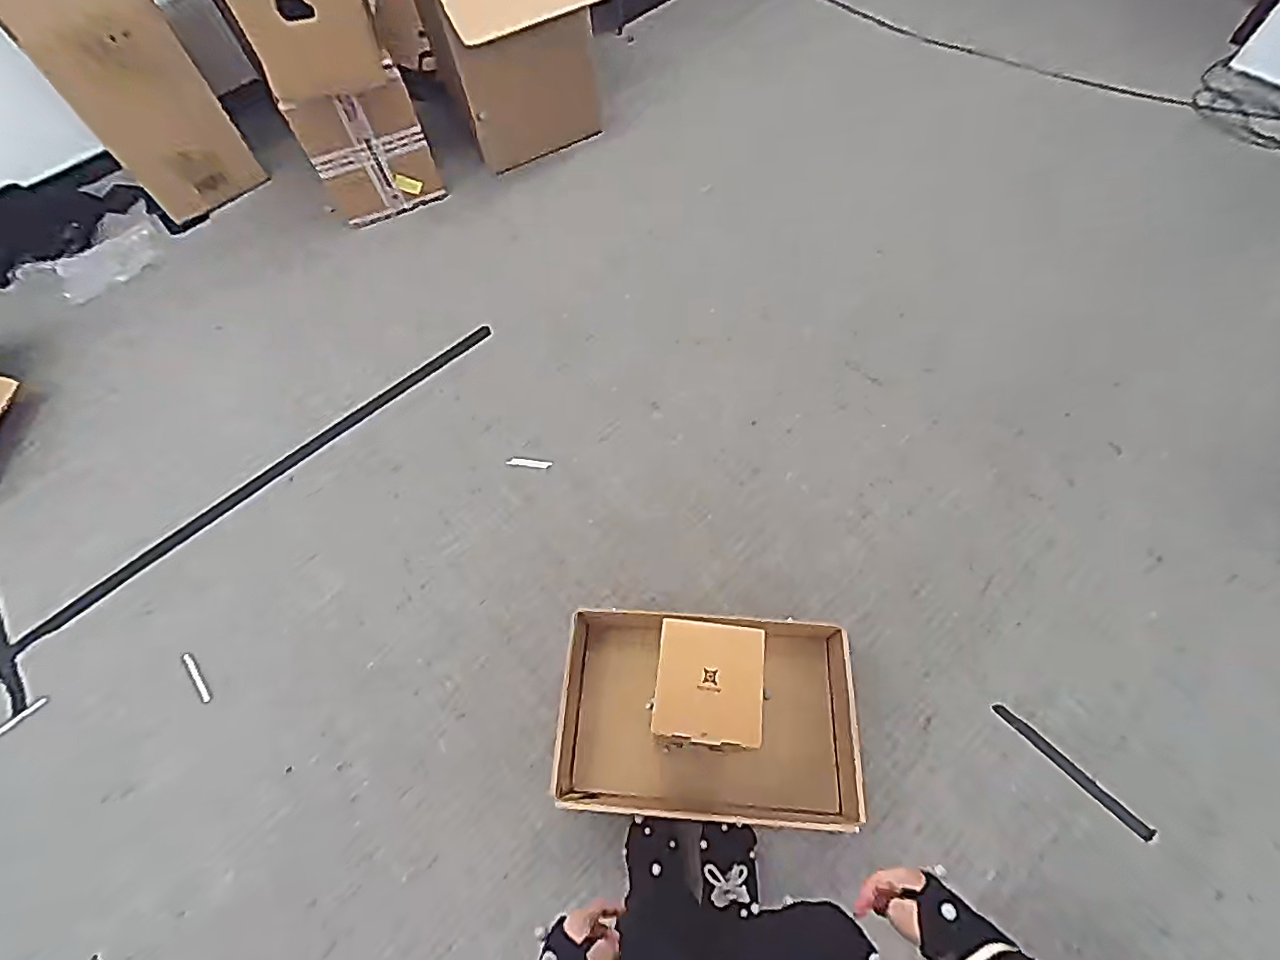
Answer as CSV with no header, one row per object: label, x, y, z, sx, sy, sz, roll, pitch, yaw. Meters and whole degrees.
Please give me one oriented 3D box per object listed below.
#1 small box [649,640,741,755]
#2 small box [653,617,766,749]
small box,0.112,0.423,1.049,0.168,0.176,0.179,7,64,5
small box,0.112,0.344,0.906,0.168,0.176,0.179,6,64,5
